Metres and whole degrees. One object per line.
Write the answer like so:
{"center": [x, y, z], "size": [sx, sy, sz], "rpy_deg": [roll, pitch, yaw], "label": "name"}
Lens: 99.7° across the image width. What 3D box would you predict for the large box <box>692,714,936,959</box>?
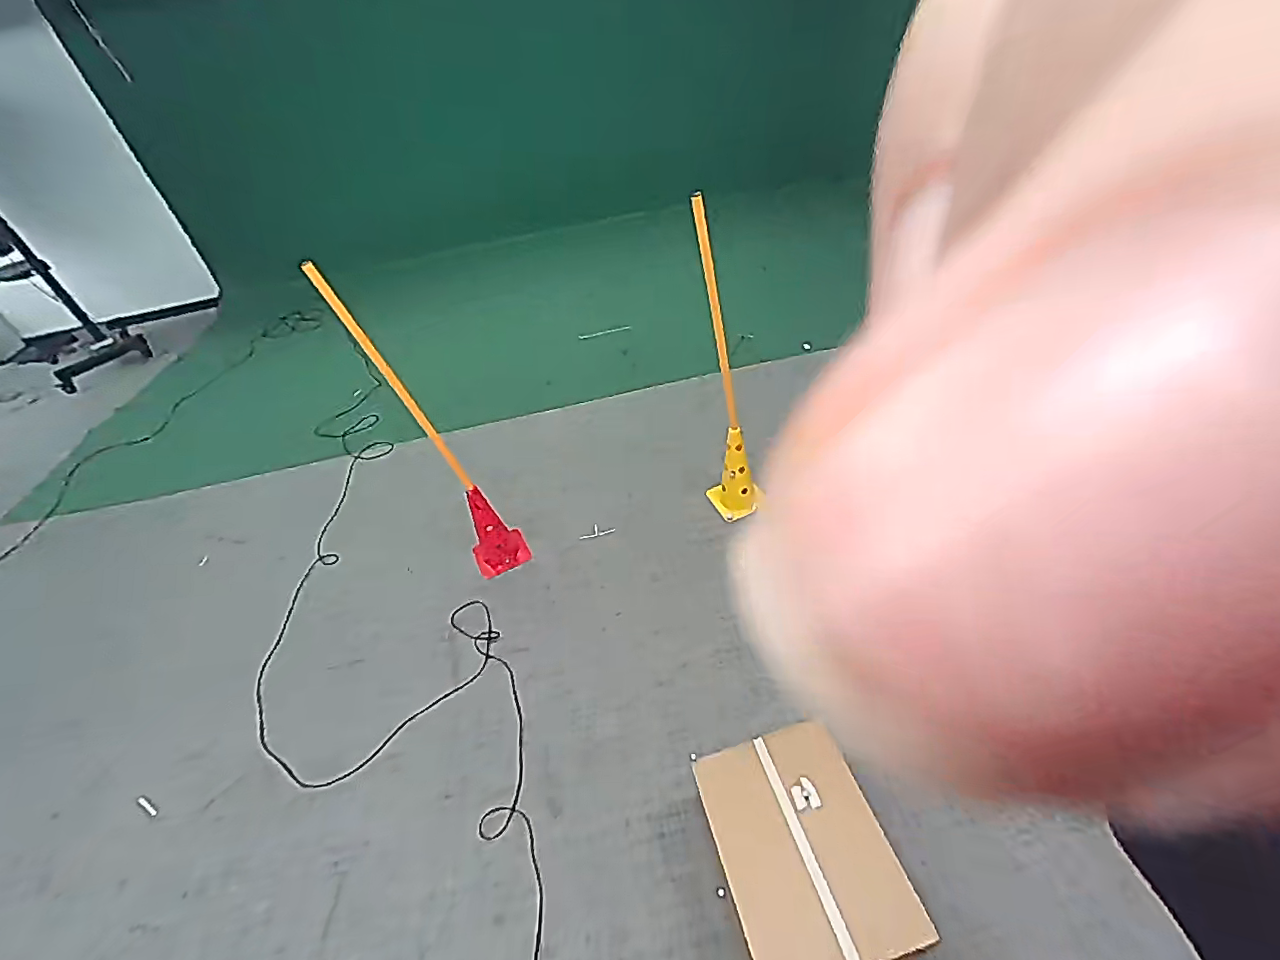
{"center": [0.335, 0.798, 1.143], "size": [0.320, 0.320, 0.408], "rpy_deg": [-16, 39, -6], "label": "large box"}
